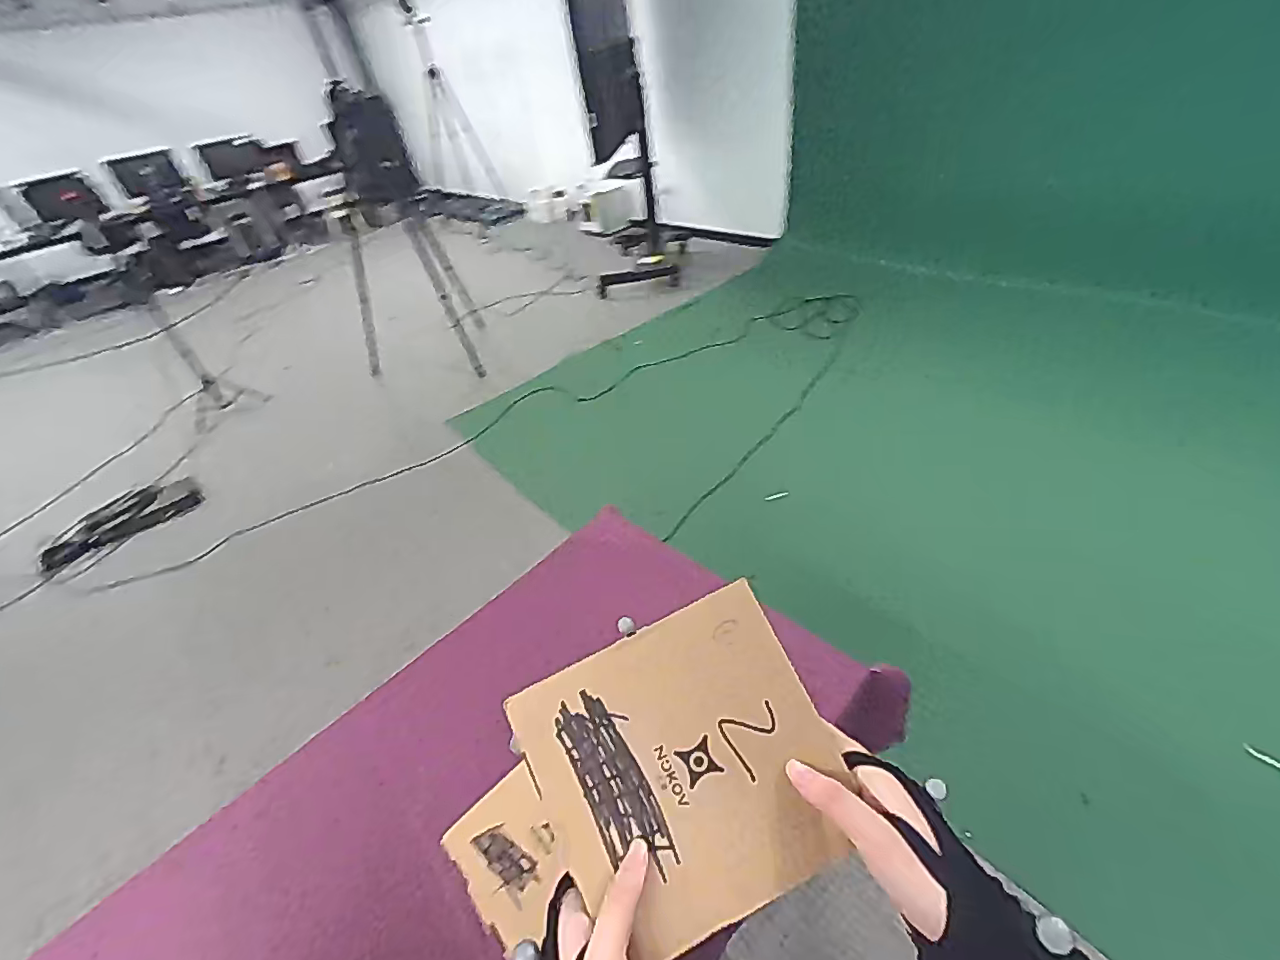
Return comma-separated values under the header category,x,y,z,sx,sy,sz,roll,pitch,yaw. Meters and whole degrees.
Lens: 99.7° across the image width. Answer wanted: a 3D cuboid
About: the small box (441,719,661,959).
category,x,y,z,sx,sy,sz,roll,pitch,yaw
small box,-0.092,0.432,0.631,0.179,0.176,0.168,-36,46,-28
